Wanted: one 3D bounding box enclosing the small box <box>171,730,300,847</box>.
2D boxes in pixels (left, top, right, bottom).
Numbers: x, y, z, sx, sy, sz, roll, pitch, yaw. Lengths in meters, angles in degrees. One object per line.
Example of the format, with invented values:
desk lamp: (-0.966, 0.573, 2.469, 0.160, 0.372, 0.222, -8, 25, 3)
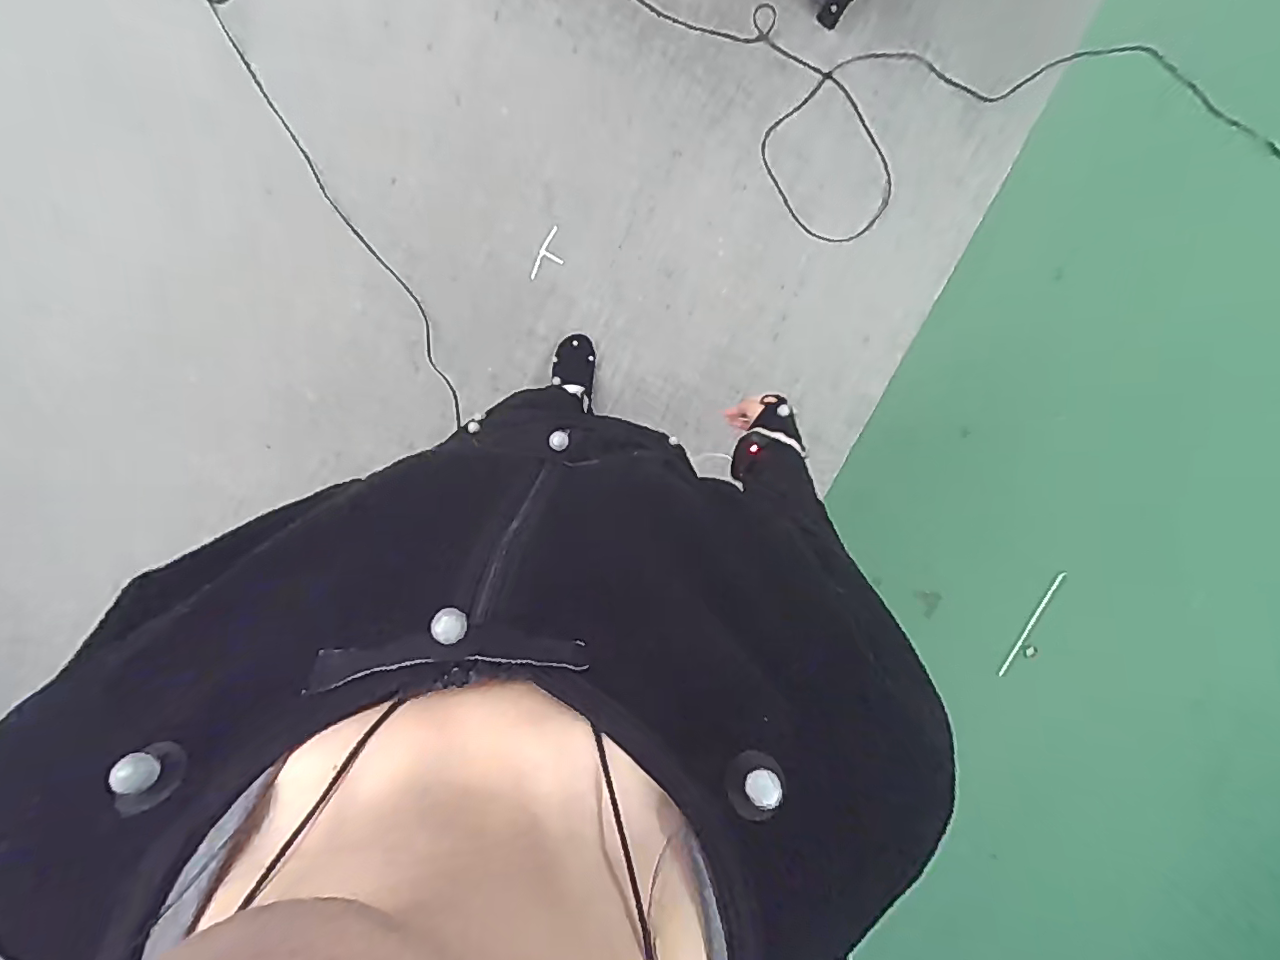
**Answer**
small box: (-1.041, 0.794, 1.409, 0.179, 0.176, 0.168, 38, 93, -11)
